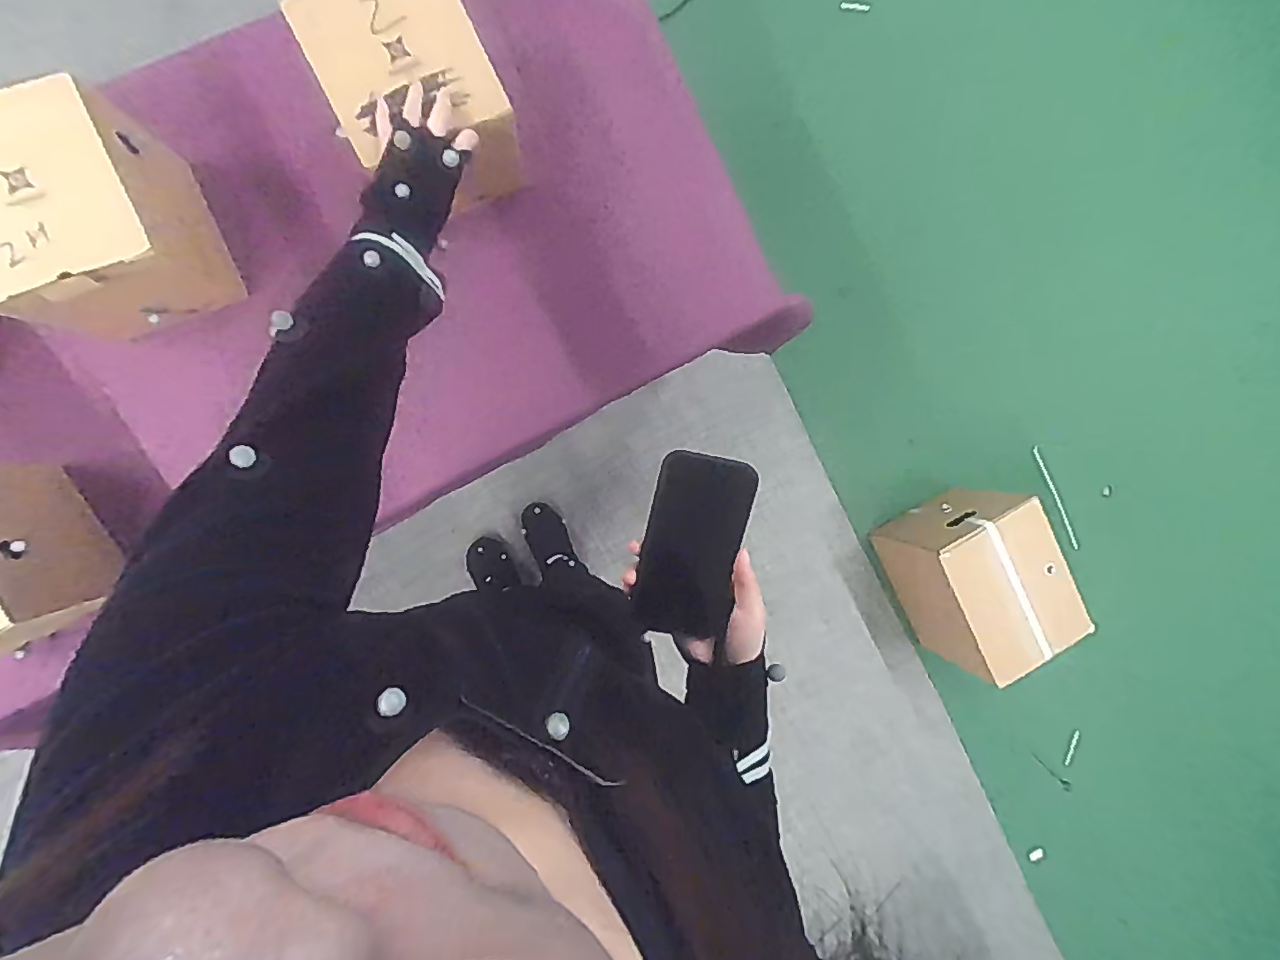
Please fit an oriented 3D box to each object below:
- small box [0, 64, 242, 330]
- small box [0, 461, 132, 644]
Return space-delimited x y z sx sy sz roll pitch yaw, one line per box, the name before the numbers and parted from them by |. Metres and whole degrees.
small box | -0.583 -0.282 0.578 0.168 0.176 0.179 -22 97 -7
small box | -0.723 0.089 0.580 0.168 0.176 0.179 -30 97 -7
